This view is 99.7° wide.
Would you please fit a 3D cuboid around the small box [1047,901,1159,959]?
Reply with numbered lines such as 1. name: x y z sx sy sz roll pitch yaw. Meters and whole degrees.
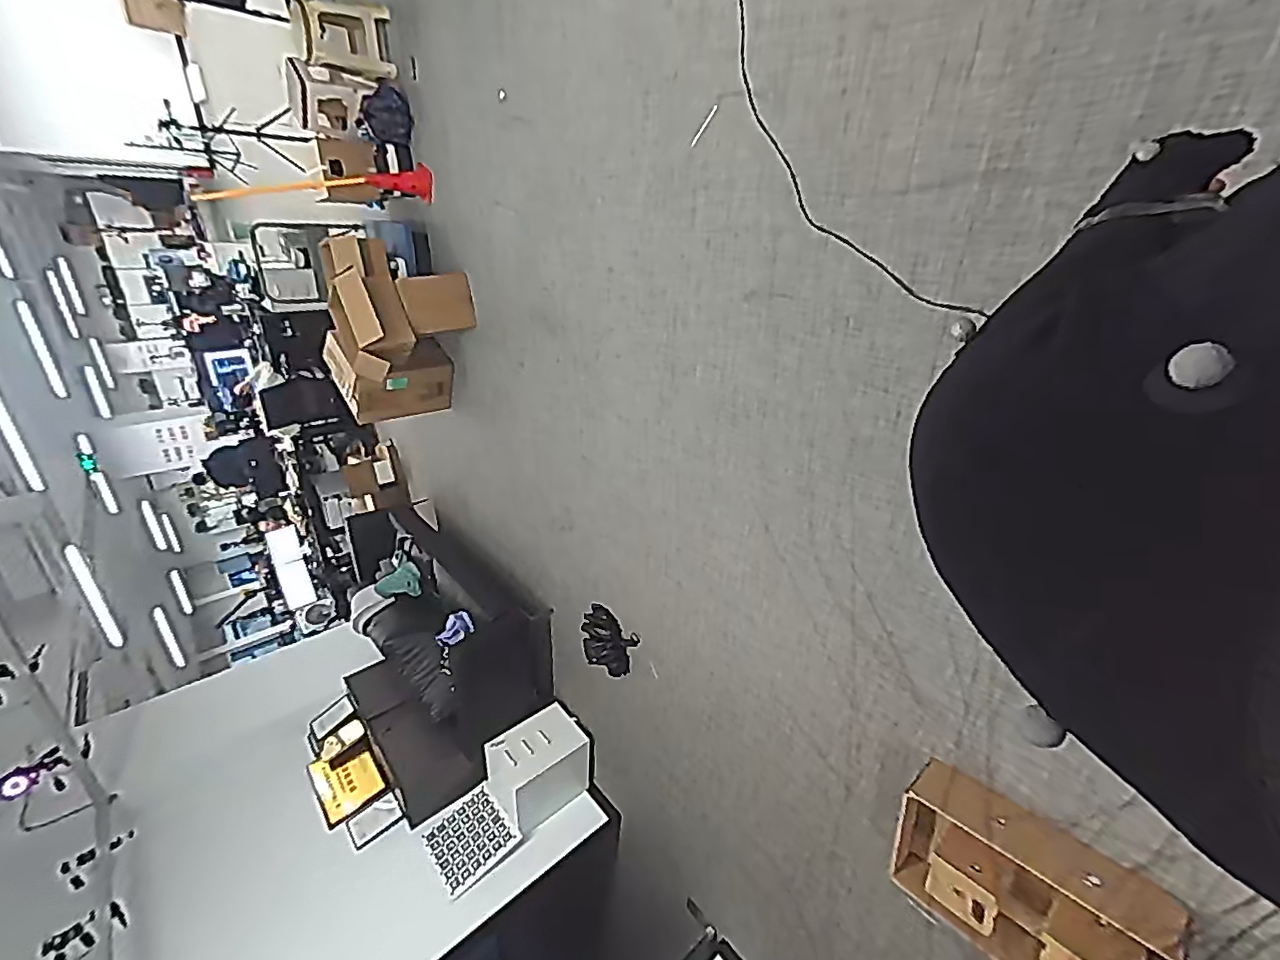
1. small box: 1.161 1.219 1.363 0.179 0.176 0.168 18 120 48

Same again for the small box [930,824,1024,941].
1. small box: 0.976 1.153 1.565 0.179 0.176 0.168 22 122 44
